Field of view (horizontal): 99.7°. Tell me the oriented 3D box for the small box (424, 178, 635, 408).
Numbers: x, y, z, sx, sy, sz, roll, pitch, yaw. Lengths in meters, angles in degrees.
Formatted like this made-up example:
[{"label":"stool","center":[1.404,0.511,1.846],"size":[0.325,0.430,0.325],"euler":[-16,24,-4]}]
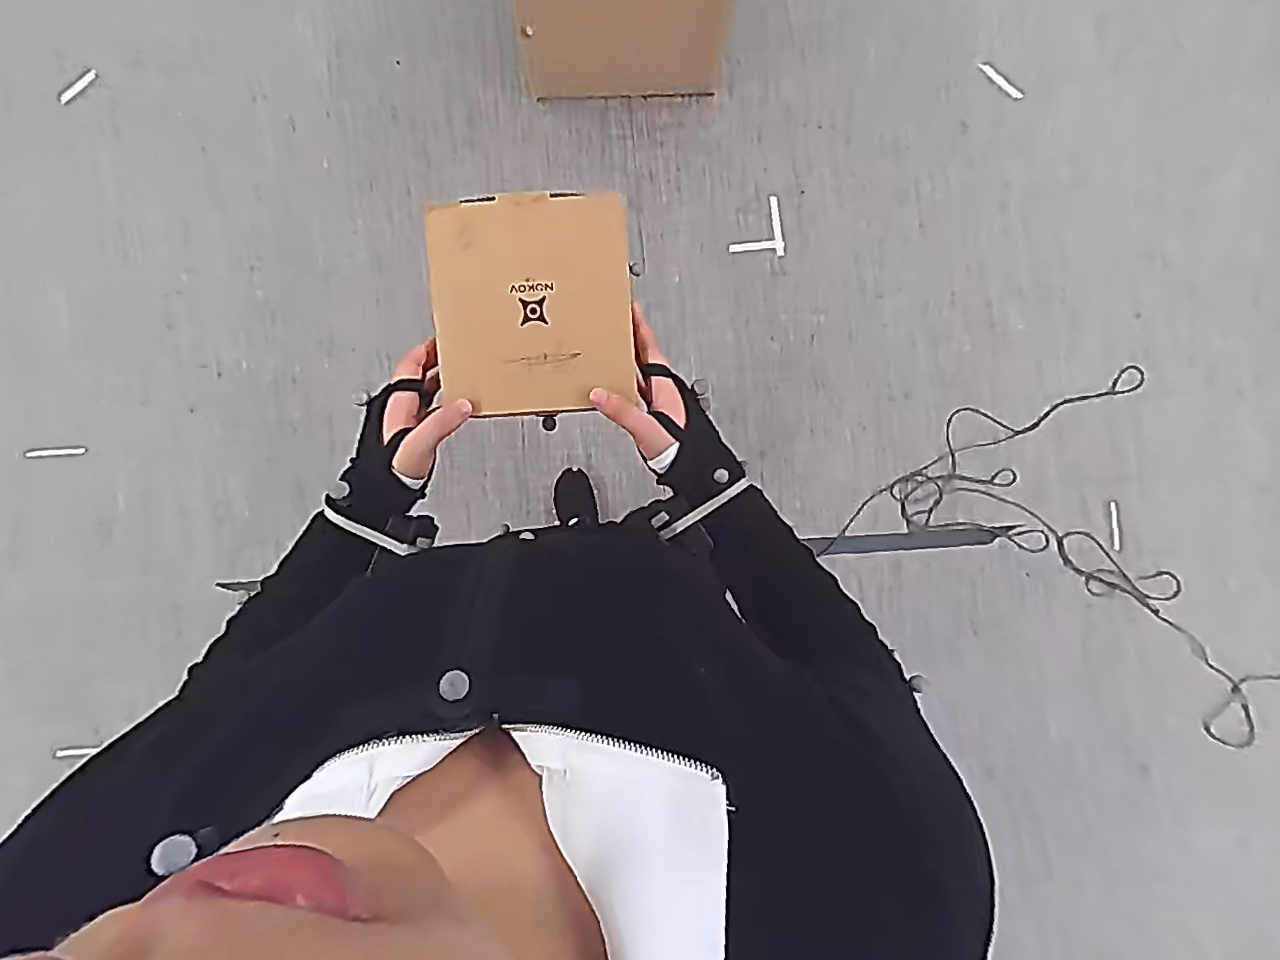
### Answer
[{"label":"small box","center":[-0.093,-0.165,0.527],"size":[0.168,0.176,0.179],"euler":[-4,96,-1]}]
